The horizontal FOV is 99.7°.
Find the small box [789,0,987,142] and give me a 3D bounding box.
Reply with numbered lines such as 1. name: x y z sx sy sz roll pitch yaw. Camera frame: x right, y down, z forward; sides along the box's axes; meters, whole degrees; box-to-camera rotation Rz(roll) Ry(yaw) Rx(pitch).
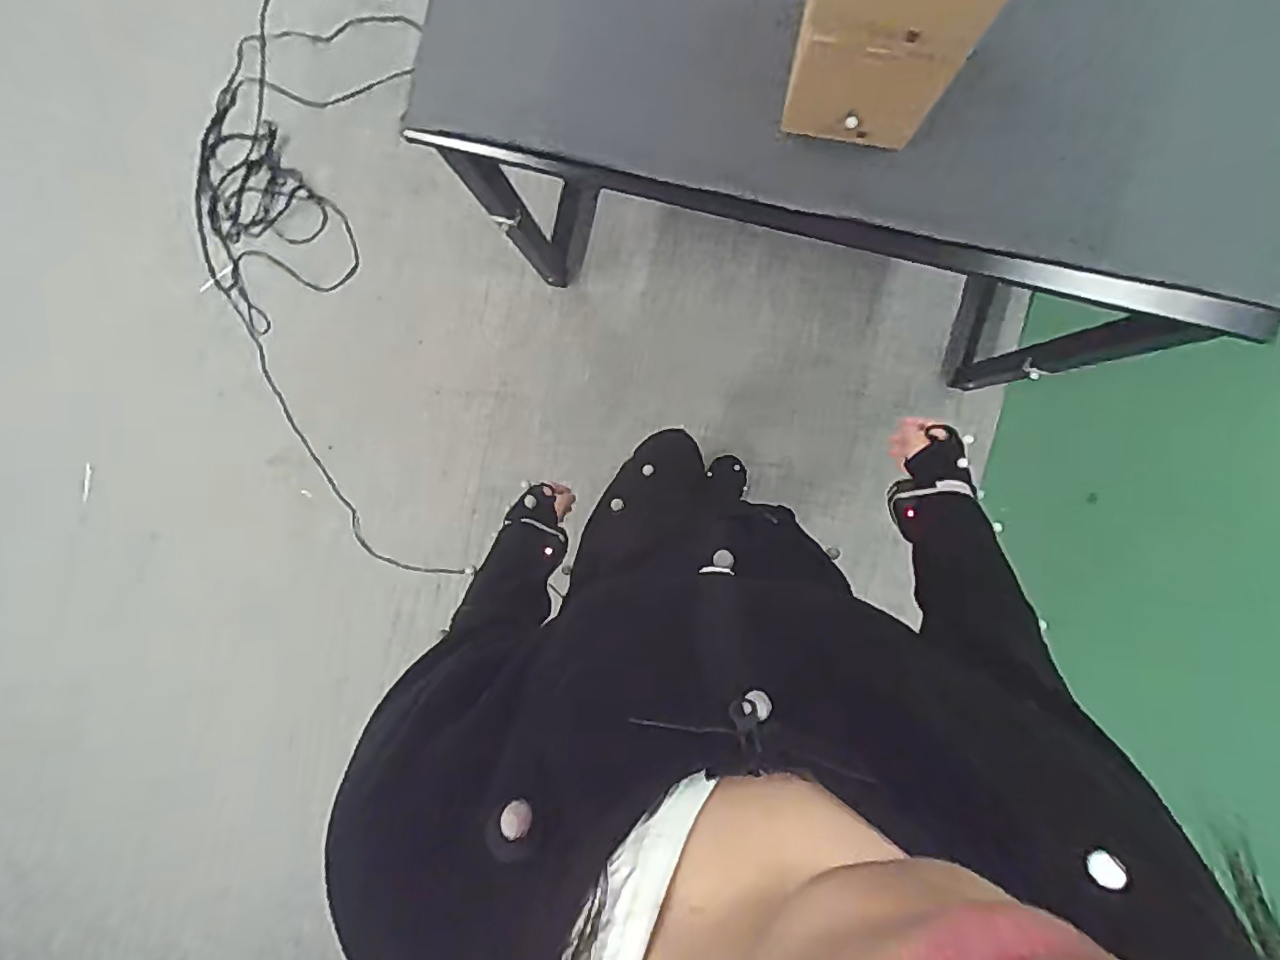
1. small box: 0.282 -0.538 0.627 0.168 0.176 0.179 11 93 4
